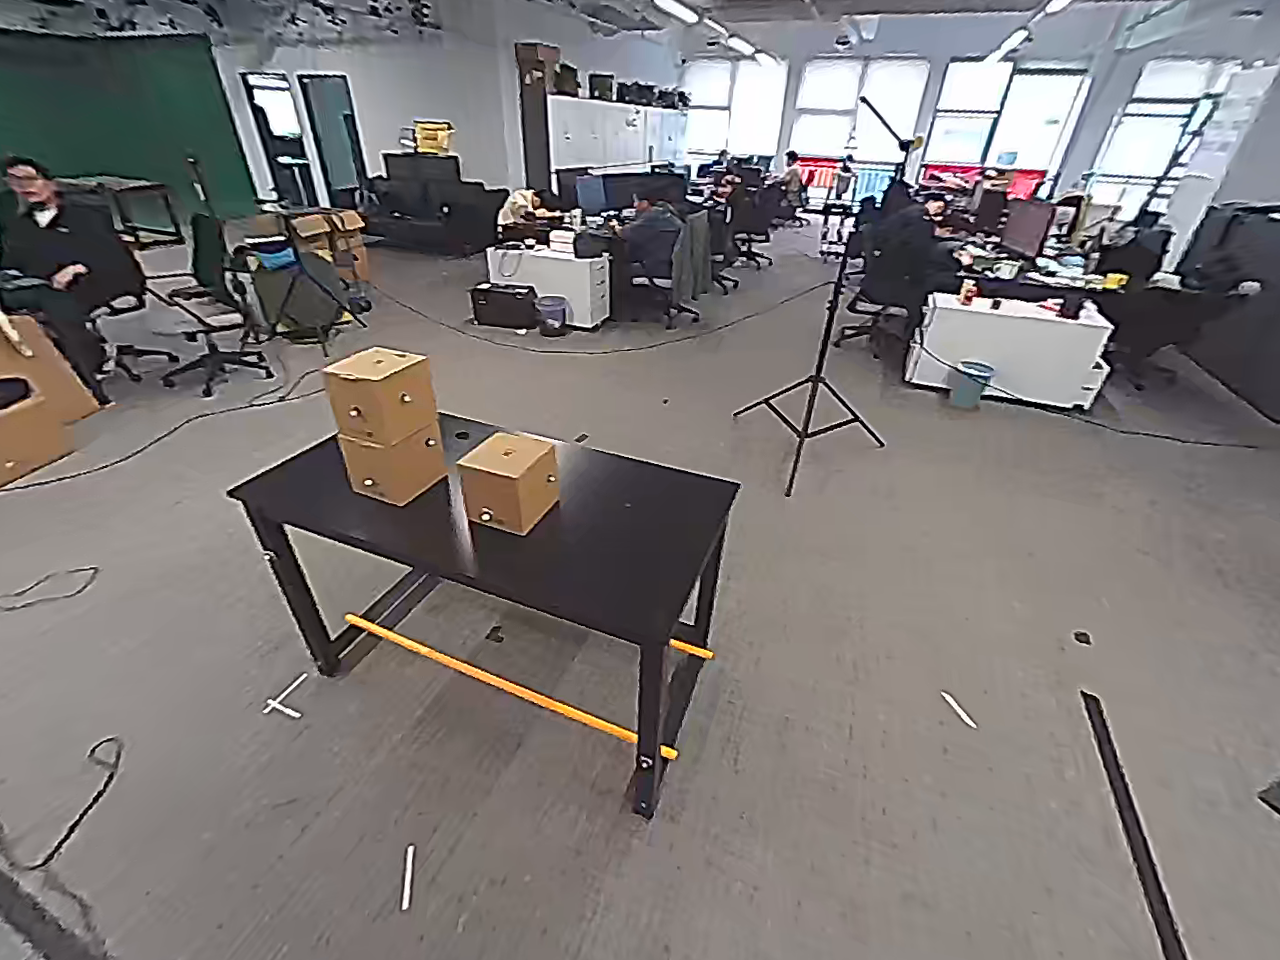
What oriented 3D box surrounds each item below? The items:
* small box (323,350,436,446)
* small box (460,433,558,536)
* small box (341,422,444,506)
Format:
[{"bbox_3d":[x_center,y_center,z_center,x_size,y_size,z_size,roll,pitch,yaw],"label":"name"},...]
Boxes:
[{"bbox_3d":[-0.625,-0.202,1.325,0.168,0.176,0.179,13,35,16],"label":"small box"},{"bbox_3d":[-0.312,0.009,1.324,0.168,0.176,0.179,12,35,17],"label":"small box"},{"bbox_3d":[-0.632,-0.059,1.406,0.168,0.176,0.179,15,35,19],"label":"small box"}]
